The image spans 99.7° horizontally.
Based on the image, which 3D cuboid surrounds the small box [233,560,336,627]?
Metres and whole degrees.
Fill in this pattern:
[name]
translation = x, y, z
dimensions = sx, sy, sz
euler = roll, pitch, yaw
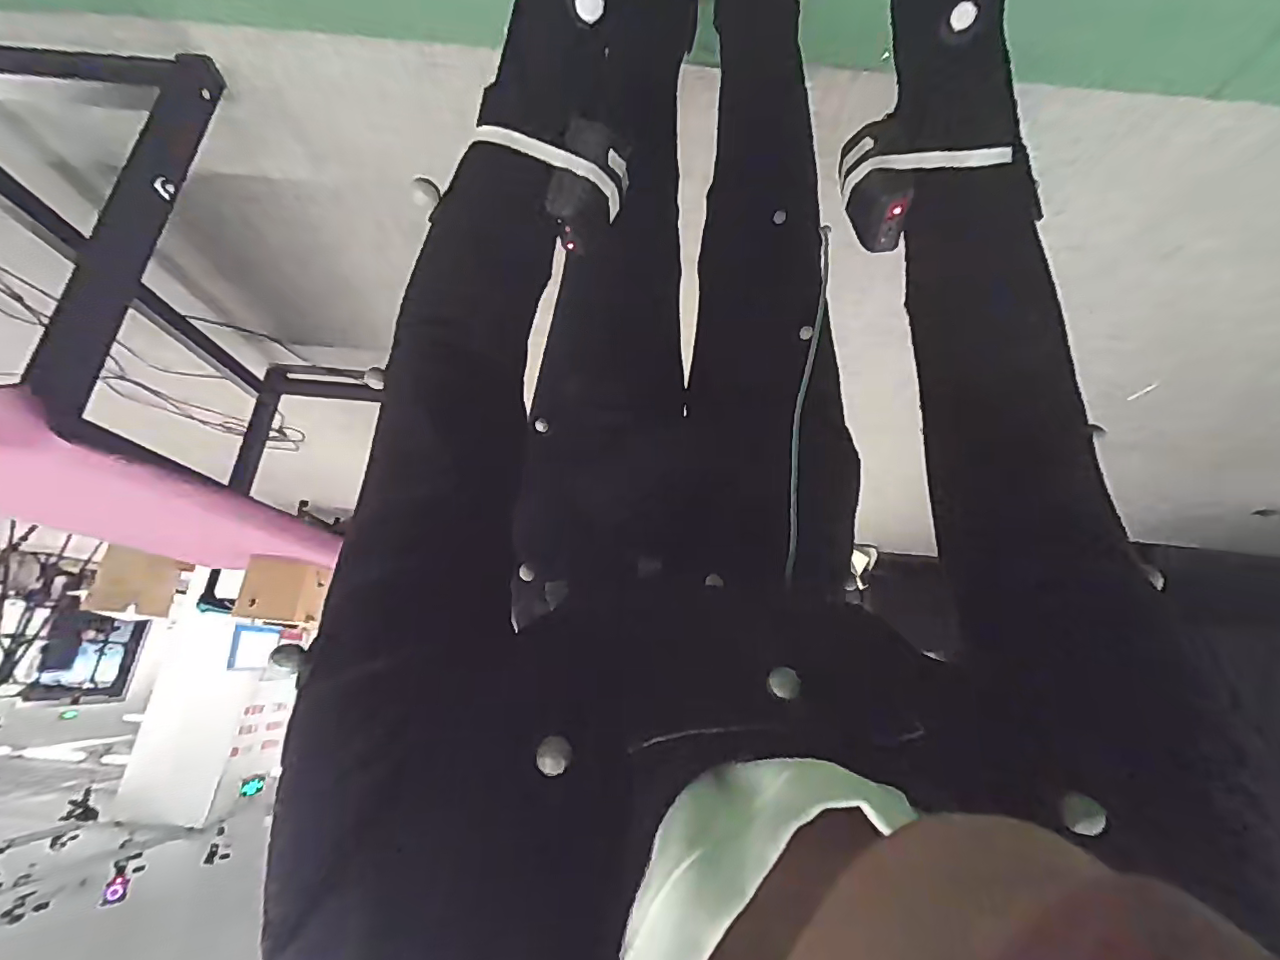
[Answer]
[small box]
translation = -1.047, 0.338, 1.609
dimensions = 0.179, 0.176, 0.168
euler = 5, 160, -1
